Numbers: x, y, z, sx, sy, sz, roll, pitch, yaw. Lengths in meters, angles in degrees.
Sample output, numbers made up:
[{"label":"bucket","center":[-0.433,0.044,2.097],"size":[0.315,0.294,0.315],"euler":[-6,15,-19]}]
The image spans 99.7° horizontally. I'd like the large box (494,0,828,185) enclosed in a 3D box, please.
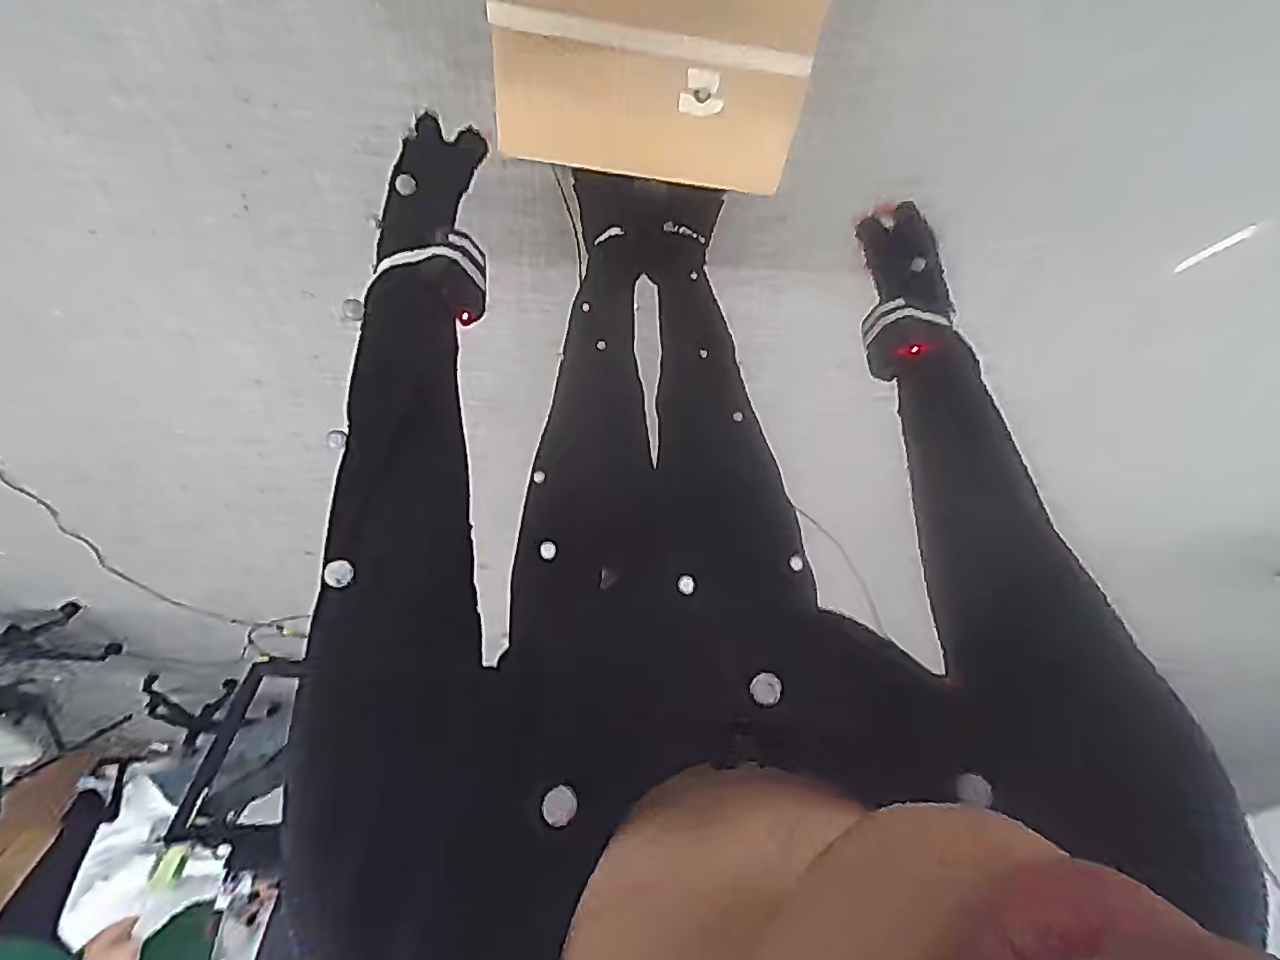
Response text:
[{"label":"large box","center":[0.016,-0.656,0.768],"size":[0.408,0.320,0.320],"euler":[4,136,-7]}]
